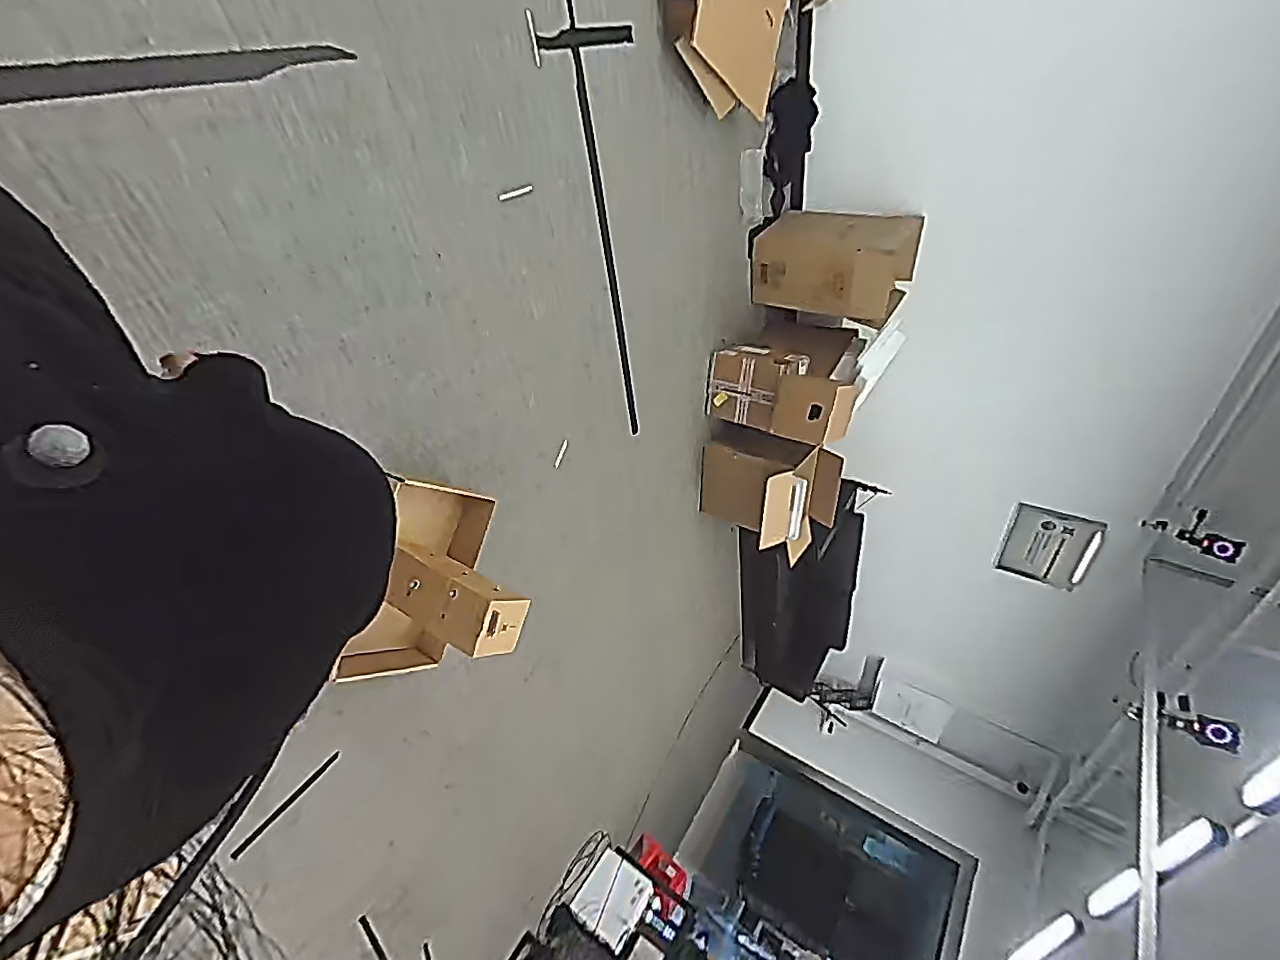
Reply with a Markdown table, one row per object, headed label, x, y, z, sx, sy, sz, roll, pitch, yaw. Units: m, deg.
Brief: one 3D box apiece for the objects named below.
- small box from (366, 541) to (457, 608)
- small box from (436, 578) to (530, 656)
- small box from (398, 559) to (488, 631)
| label | x | y | z | sx | sy | sz | roll | pitch | yaw |
| --- | --- | --- | --- | --- | --- | --- | --- | --- | --- |
| small box | -0.728 | 0.303 | 1.727 | 0.179 | 0.176 | 0.168 | 26 | 83 | -59 |
| small box | -0.457 | 0.392 | 1.568 | 0.179 | 0.176 | 0.168 | 21 | 87 | -61 |
| small box | -0.595 | 0.348 | 1.647 | 0.179 | 0.176 | 0.168 | 23 | 85 | -59 |
